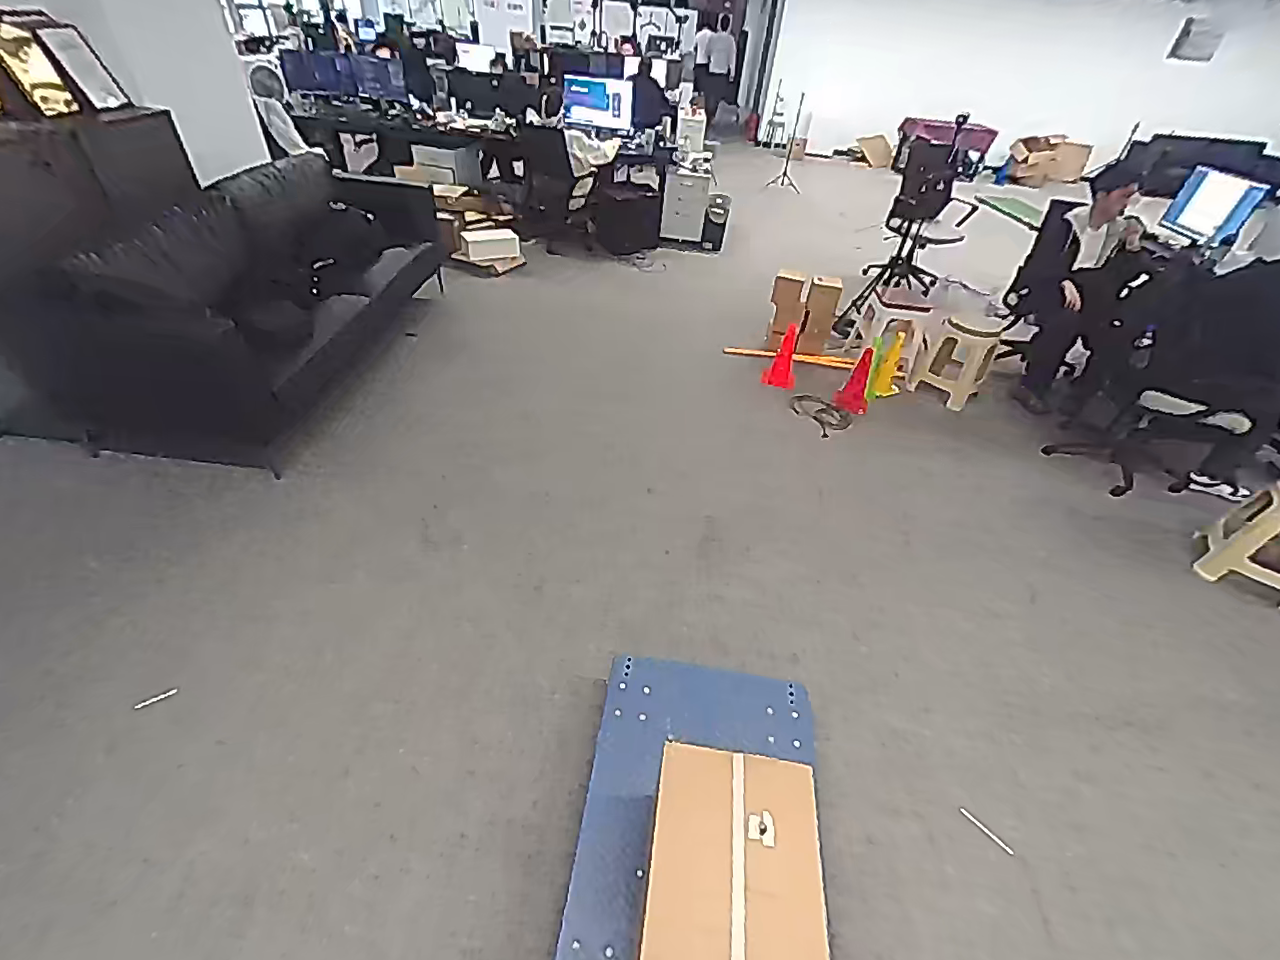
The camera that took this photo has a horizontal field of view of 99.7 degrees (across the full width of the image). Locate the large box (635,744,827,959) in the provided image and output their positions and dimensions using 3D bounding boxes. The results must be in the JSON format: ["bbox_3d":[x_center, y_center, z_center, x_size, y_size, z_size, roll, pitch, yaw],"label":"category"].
[{"bbox_3d":[0.161,0.818,1.084,0.320,0.320,0.408,8,39,3],"label":"large box"}]
